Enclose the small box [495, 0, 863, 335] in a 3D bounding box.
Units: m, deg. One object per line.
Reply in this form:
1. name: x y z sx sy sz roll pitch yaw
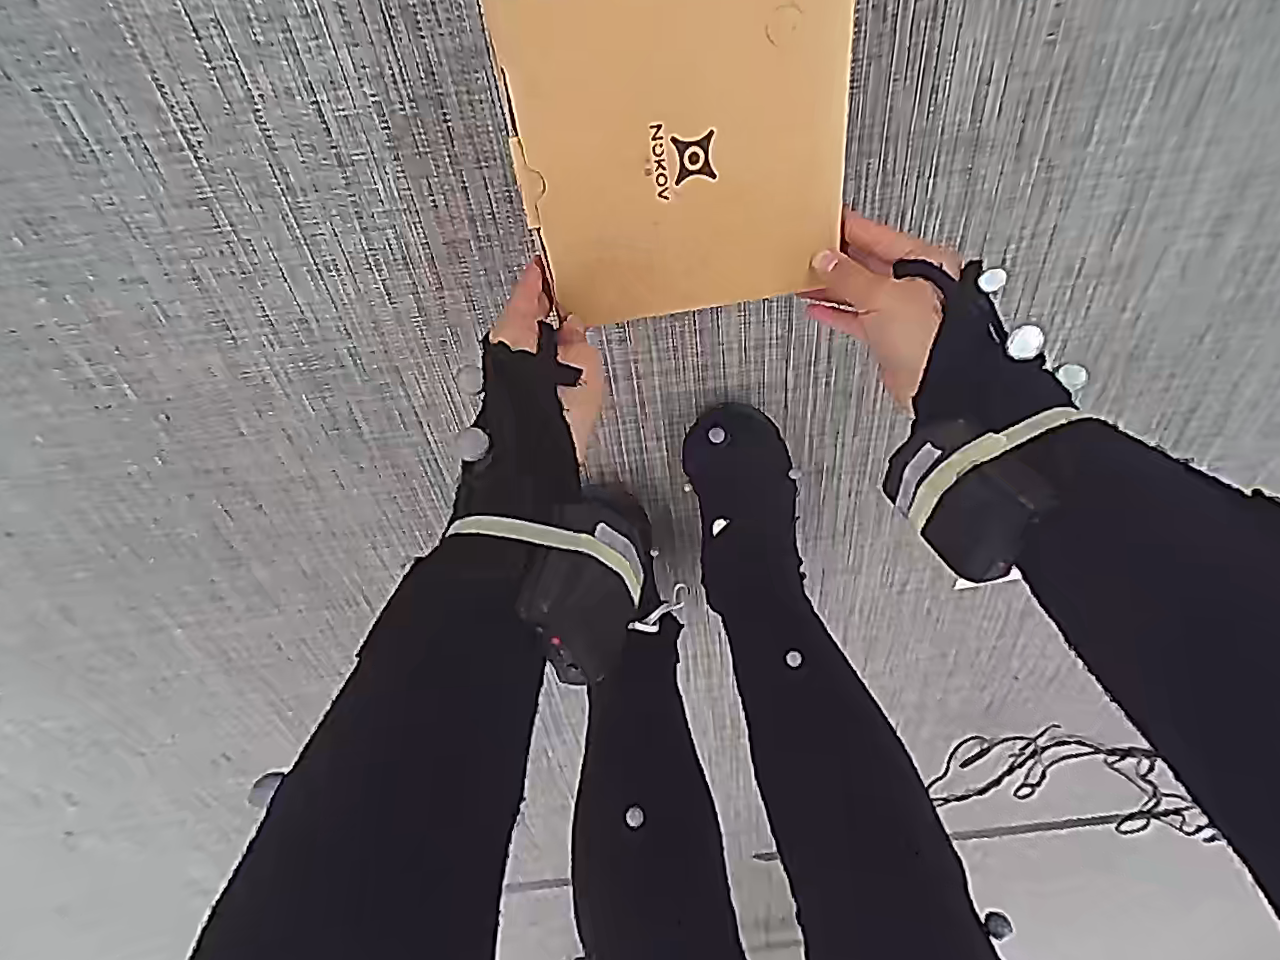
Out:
1. small box: 0.021 -0.215 0.357 0.179 0.176 0.168 -8 126 2
